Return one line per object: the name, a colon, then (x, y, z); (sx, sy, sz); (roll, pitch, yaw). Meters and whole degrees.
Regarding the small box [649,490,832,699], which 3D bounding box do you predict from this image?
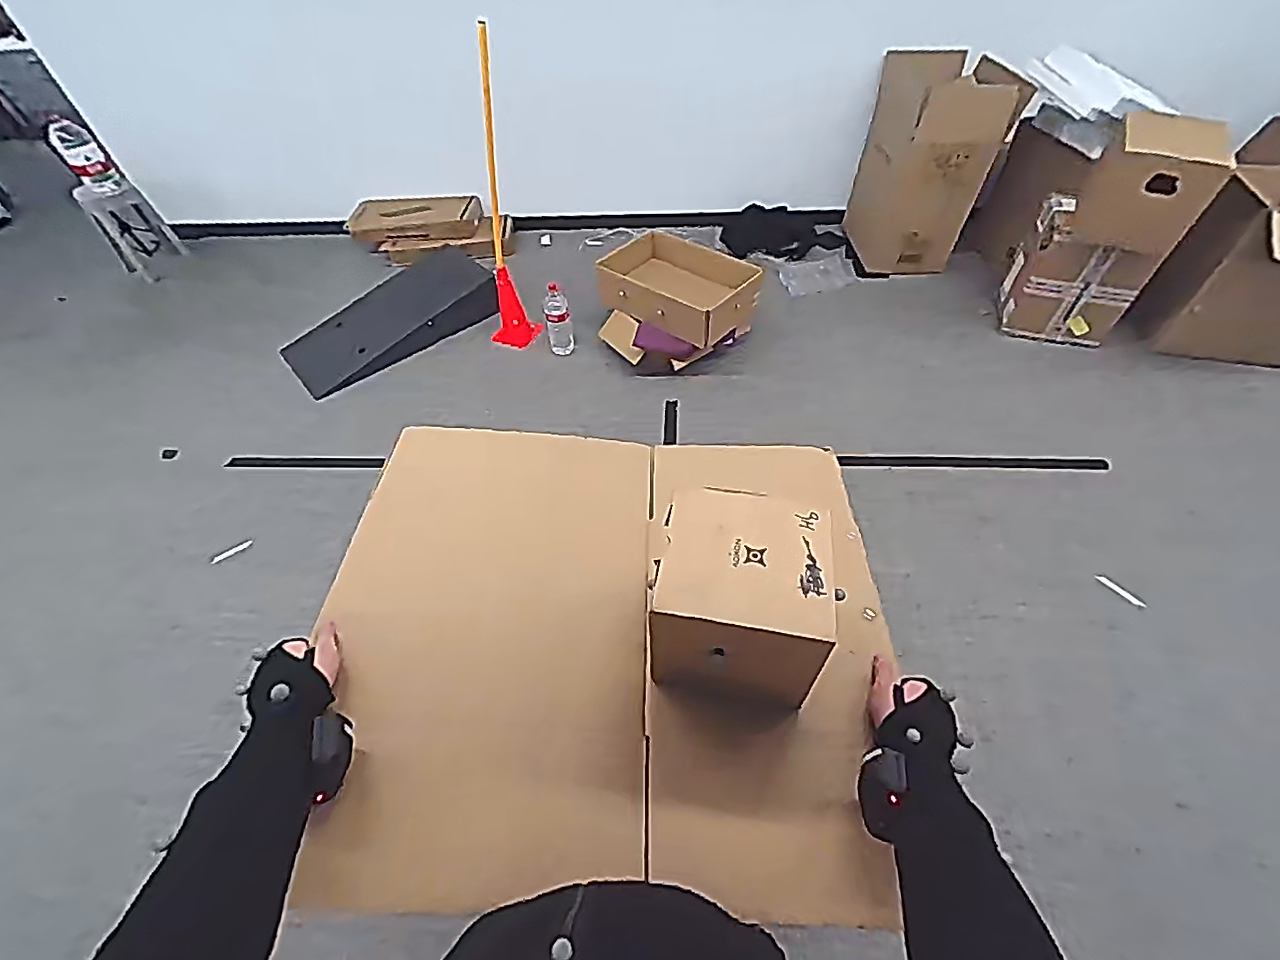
small box: (0.113, 0.134, 0.623); (0.179, 0.176, 0.168); (7, 49, 9)
